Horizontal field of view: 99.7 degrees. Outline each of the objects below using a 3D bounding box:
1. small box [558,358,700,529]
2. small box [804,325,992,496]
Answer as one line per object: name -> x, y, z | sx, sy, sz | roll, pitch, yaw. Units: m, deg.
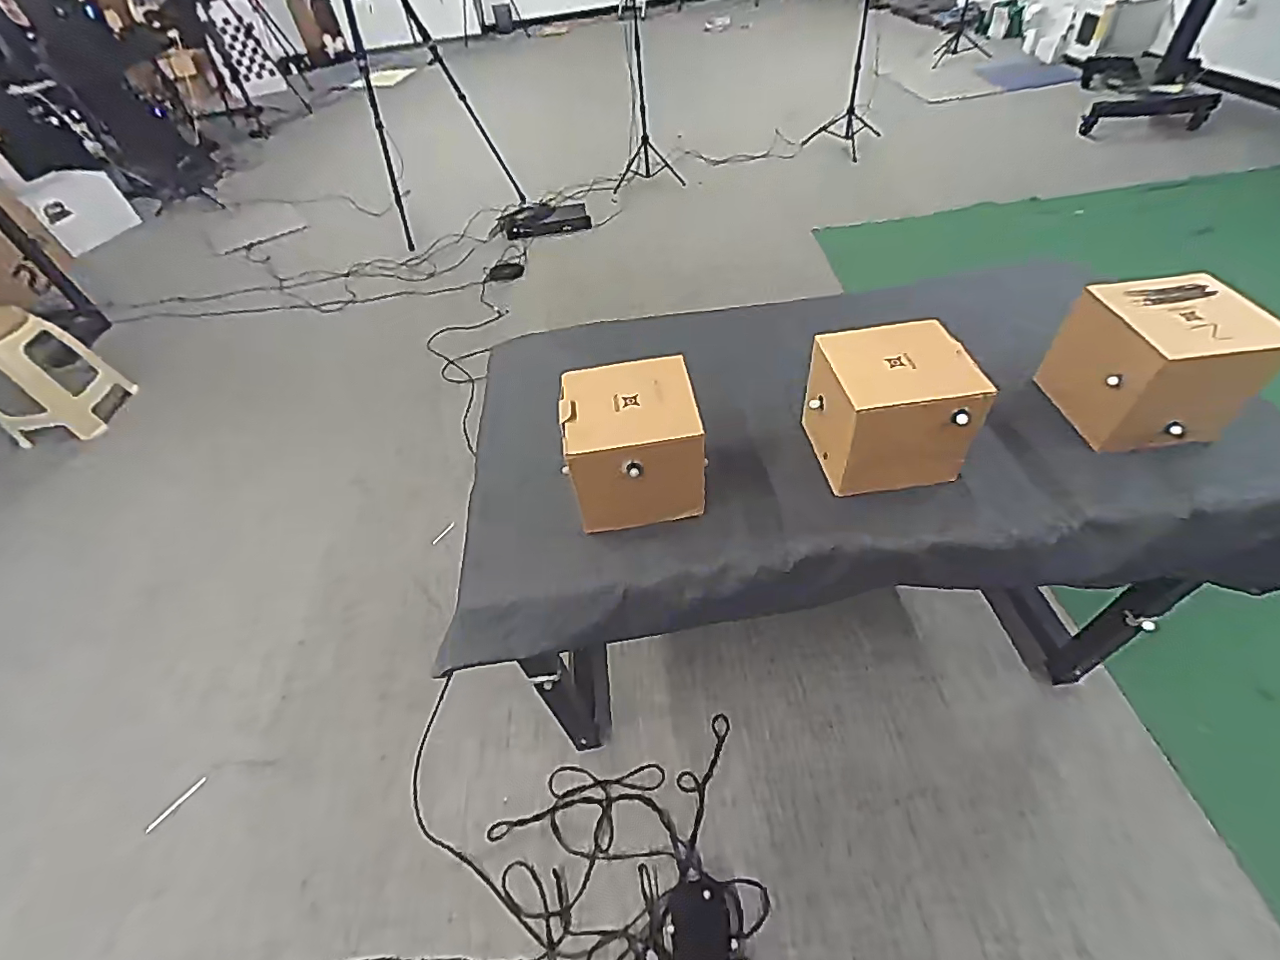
small box -> -0.013, -0.046, 0.764 | 0.179, 0.176, 0.168 | -8, 49, -2
small box -> 0.341, -0.093, 0.763 | 0.179, 0.176, 0.168 | -7, 47, 0
